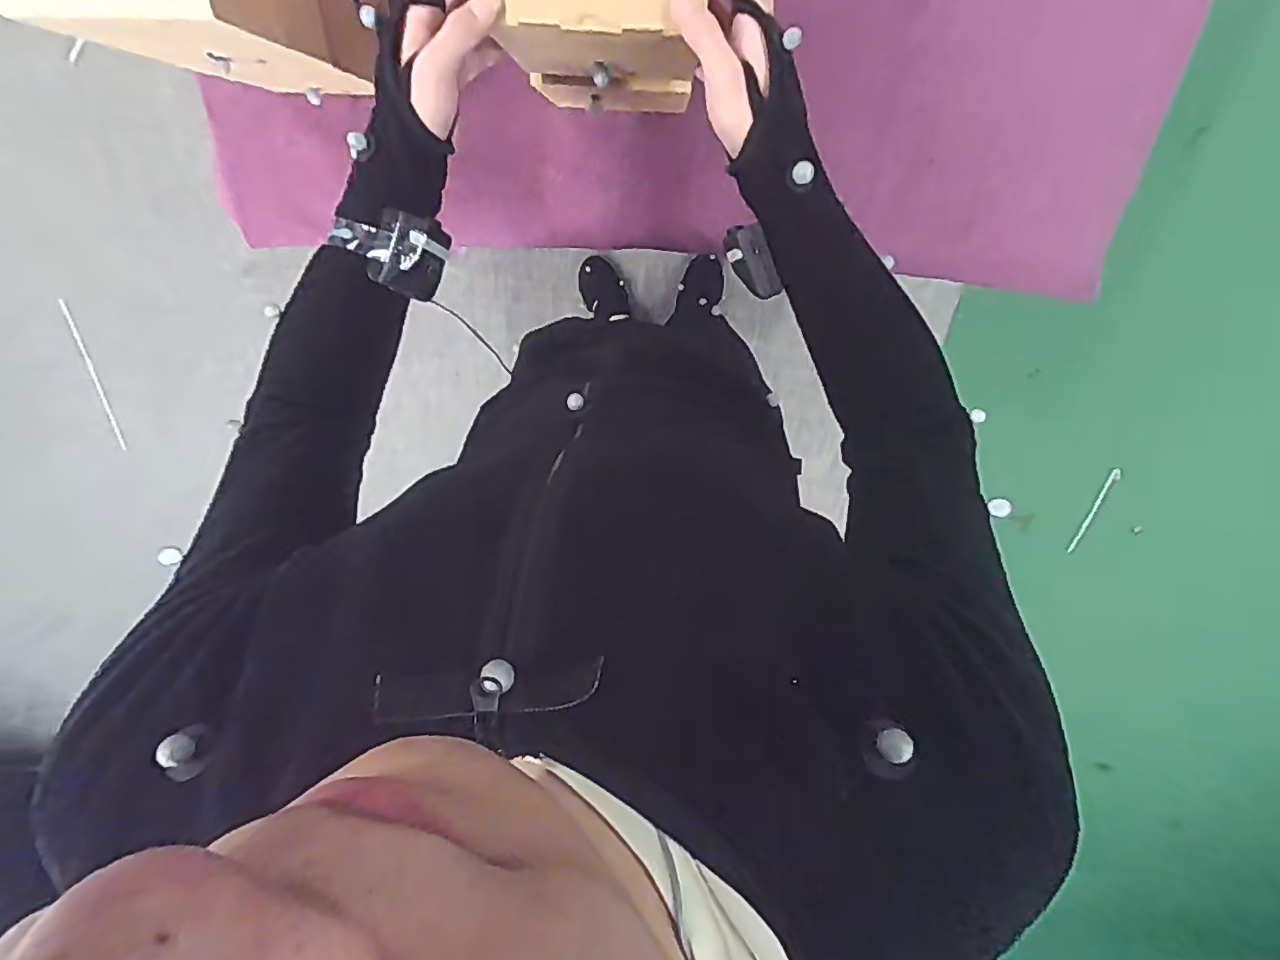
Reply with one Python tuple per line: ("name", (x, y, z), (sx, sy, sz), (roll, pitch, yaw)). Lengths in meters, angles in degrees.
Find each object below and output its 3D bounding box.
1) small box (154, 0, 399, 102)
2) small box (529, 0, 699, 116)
("small box", (-0.381, -0.524, 0.574), (0.168, 0.176, 0.179), (2, 118, 0))
("small box", (-0.021, -0.505, 0.579), (0.168, 0.176, 0.179), (2, 117, 1))
